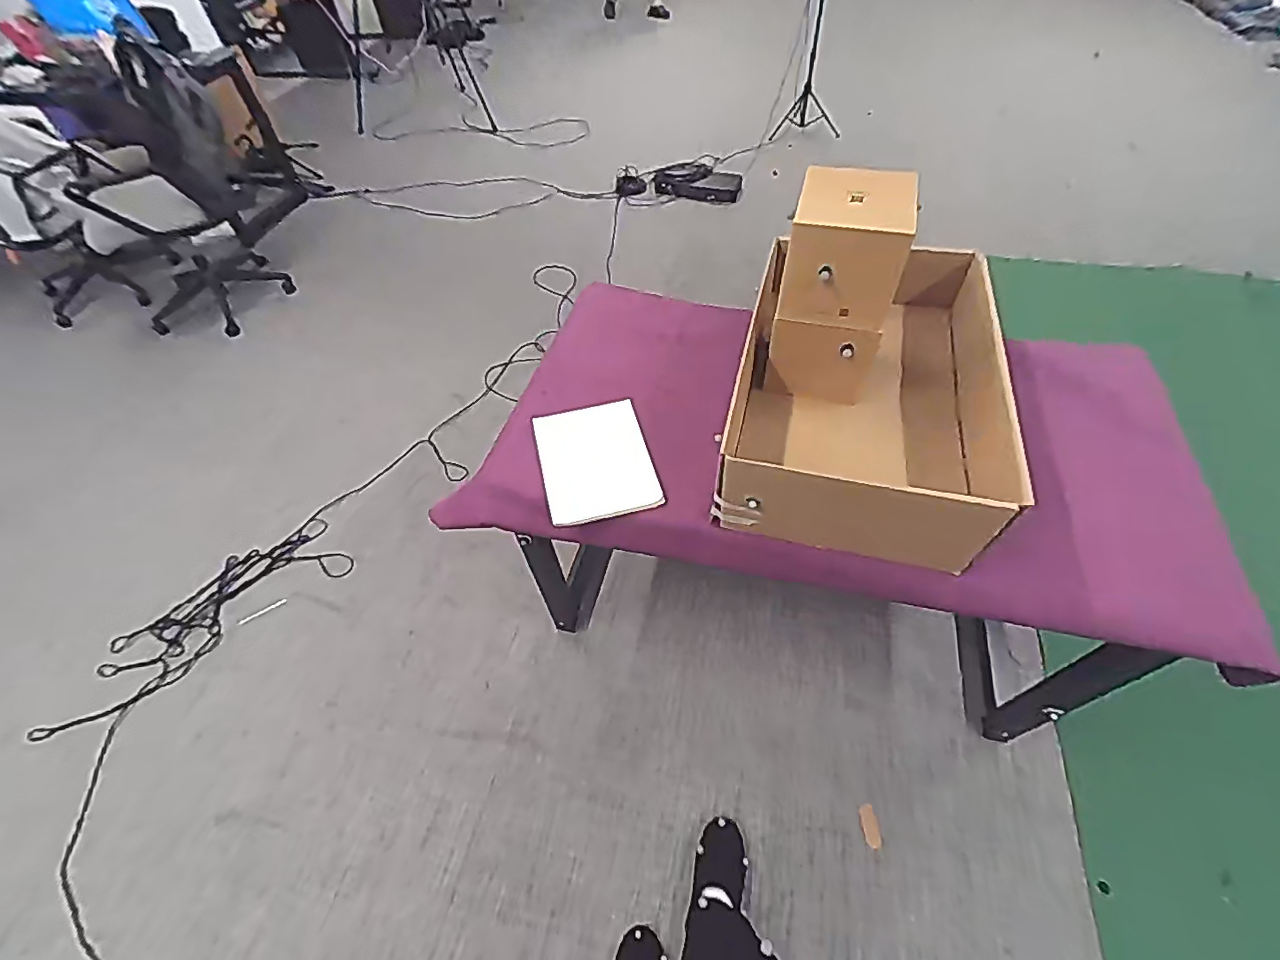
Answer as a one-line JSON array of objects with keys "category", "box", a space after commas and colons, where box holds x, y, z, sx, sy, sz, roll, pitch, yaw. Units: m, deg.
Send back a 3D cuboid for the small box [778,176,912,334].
[{"category": "small box", "box": [0.321, -0.357, 0.864, 0.168, 0.176, 0.179, 11, 54, 13]}]
